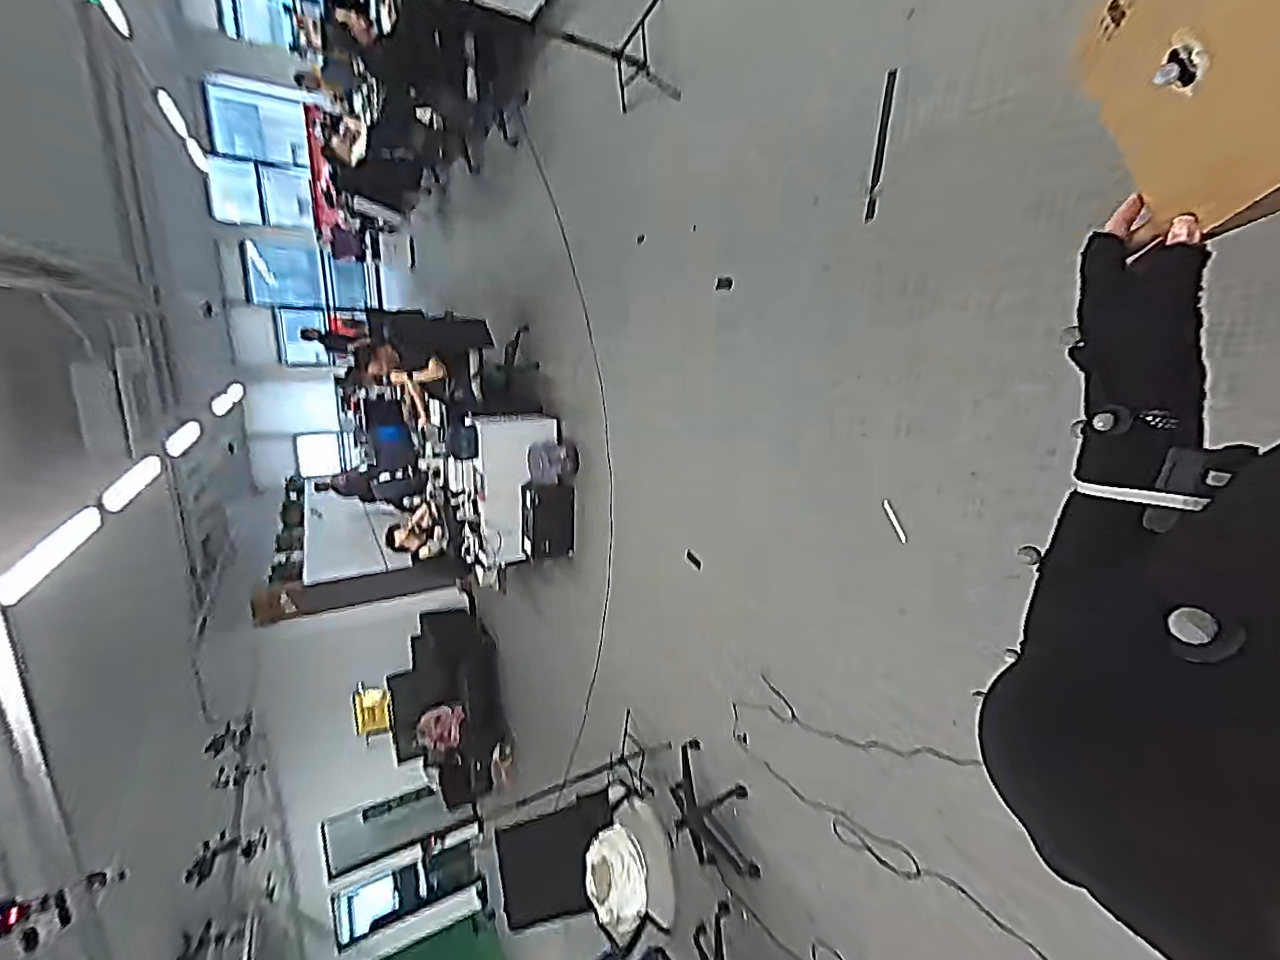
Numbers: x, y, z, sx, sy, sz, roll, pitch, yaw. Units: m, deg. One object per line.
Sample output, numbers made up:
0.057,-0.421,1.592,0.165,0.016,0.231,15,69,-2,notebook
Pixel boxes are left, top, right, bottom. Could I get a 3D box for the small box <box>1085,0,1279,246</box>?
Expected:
0.381,-0.261,0.275,0.179,0.168,0.176,-22,87,21,small box
